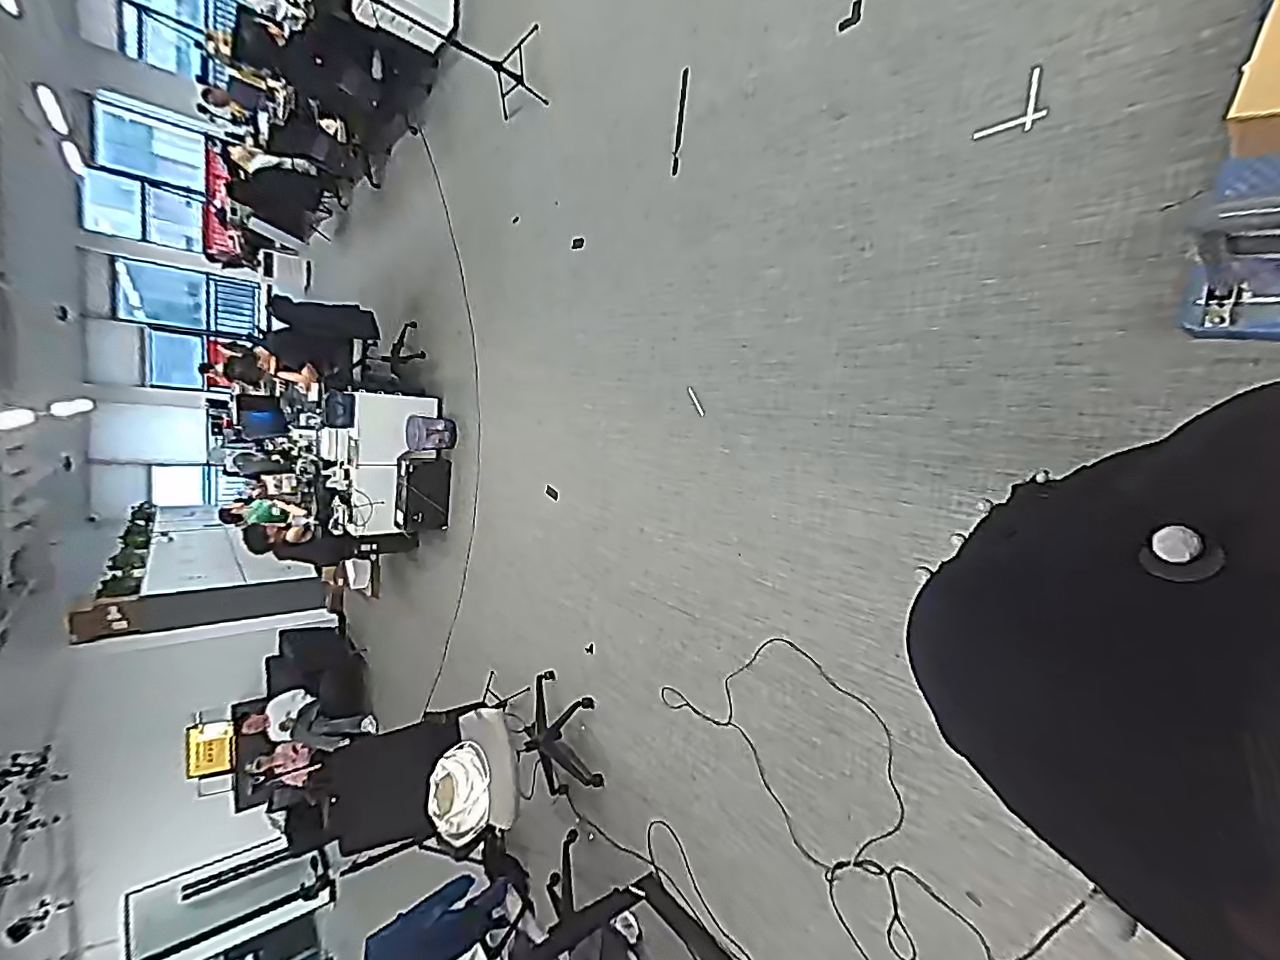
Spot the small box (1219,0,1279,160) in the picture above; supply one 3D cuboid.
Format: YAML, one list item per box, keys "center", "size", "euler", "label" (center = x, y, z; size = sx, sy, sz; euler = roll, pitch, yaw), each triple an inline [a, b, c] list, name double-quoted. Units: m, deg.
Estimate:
- center: [1.016, -0.599, 0.801]
  size: [0.179, 0.176, 0.168]
  euler: [25, 108, 45]
  label: "small box"
